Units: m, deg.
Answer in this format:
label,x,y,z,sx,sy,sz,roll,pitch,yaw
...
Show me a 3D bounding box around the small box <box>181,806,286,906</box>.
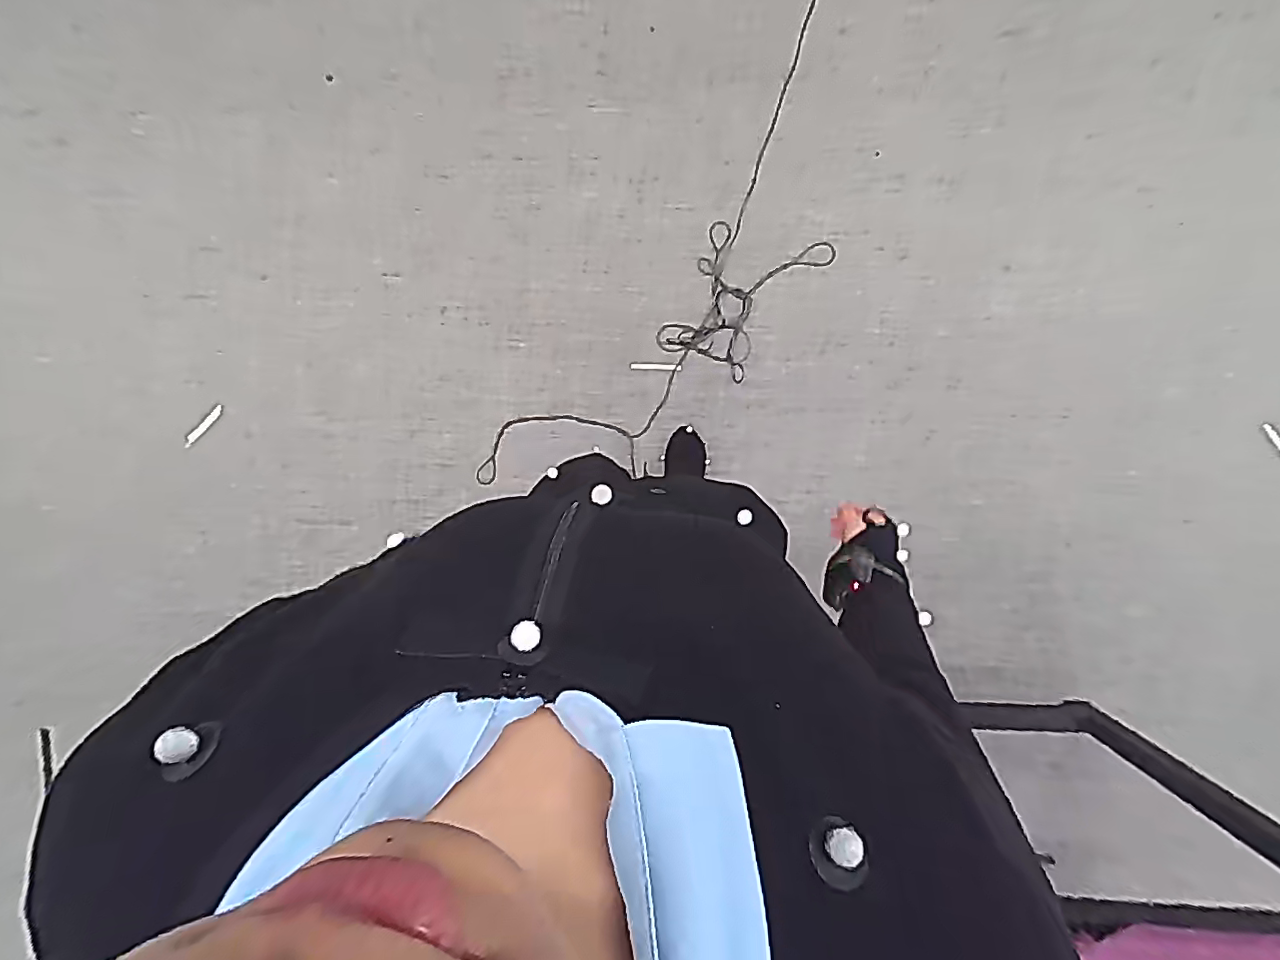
label,x,y,z,sx,sy,sz,roll,pitch,yaw
small box,-1.113,1.031,1.496,0.179,0.176,0.168,-1,92,3
